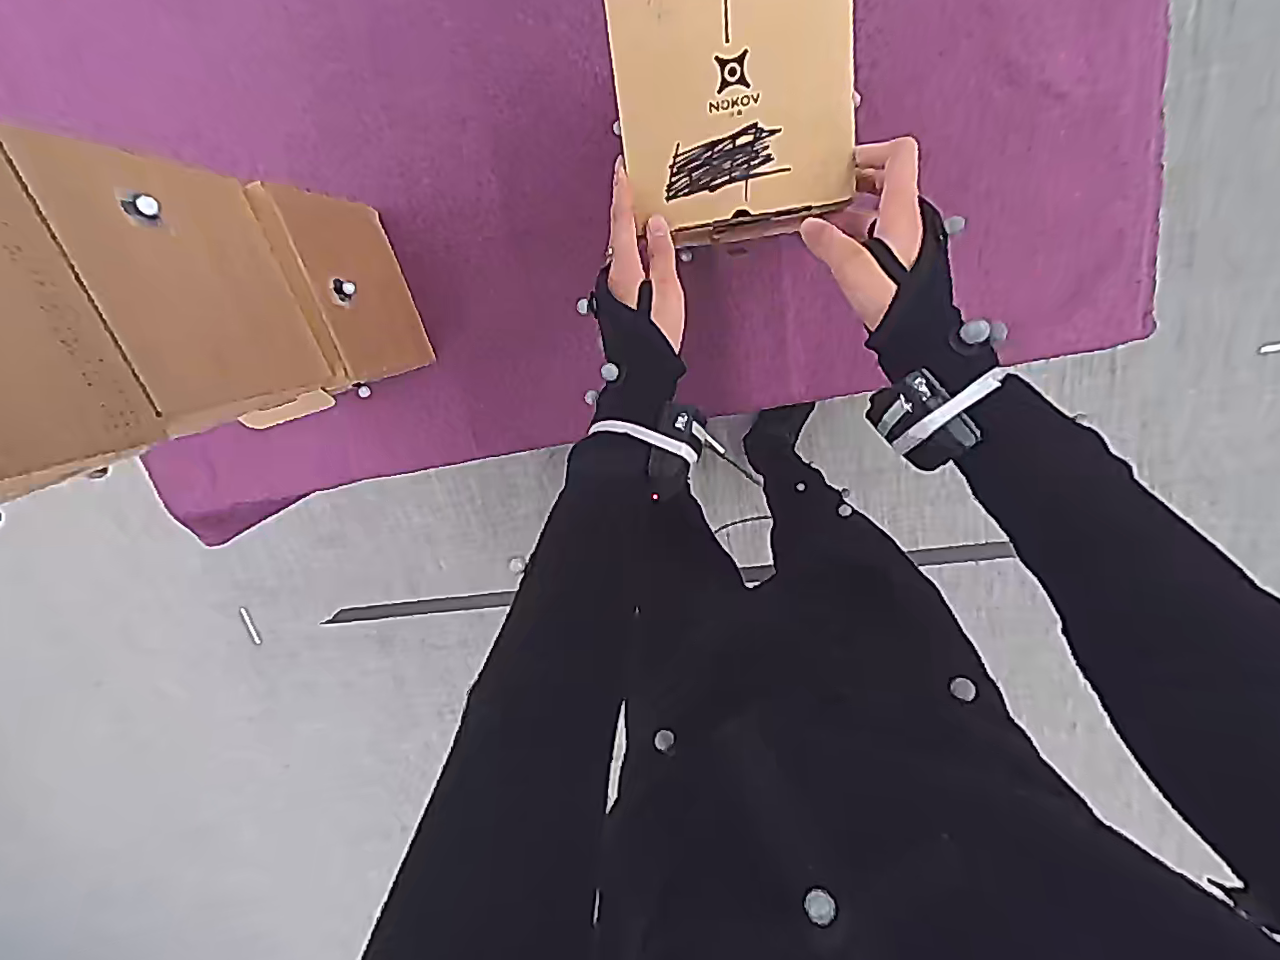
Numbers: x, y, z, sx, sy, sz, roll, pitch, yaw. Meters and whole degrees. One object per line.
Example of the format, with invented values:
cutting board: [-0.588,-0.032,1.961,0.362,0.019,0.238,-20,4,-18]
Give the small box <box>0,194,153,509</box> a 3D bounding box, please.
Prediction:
small box: [-0.411,-0.054,0.259,0.168,0.176,0.179,-16,106,13]

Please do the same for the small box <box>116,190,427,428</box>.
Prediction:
small box: [-0.356,-0.173,0.563,0.168,0.176,0.179,-13,107,12]
